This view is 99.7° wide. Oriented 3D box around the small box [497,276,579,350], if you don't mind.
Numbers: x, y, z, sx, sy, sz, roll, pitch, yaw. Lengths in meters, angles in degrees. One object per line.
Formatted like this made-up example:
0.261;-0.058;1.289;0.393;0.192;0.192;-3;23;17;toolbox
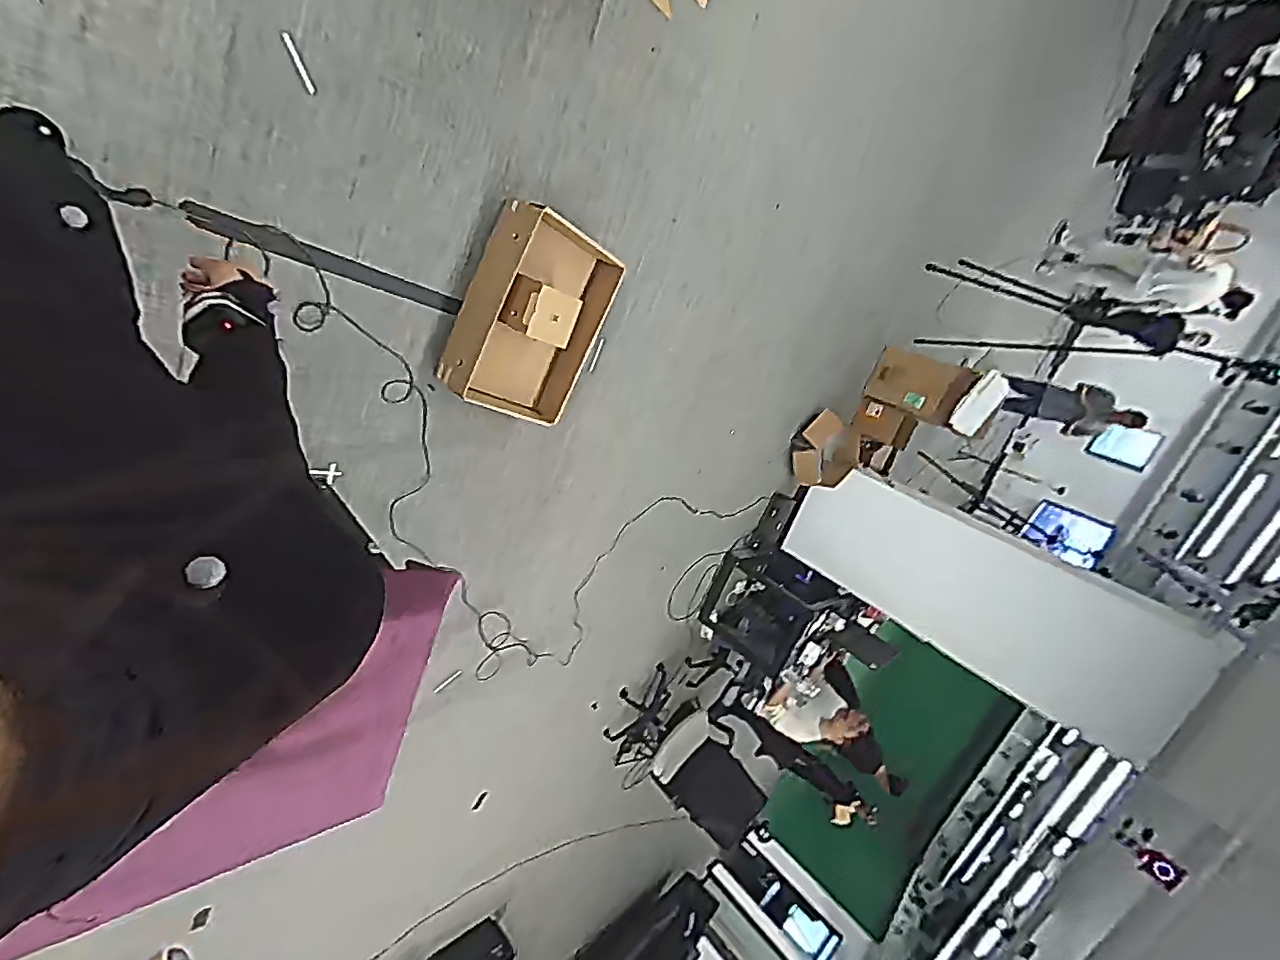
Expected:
-0.335;-0.542;1.751;0.179;0.176;0.168;6;113;-51;small box
